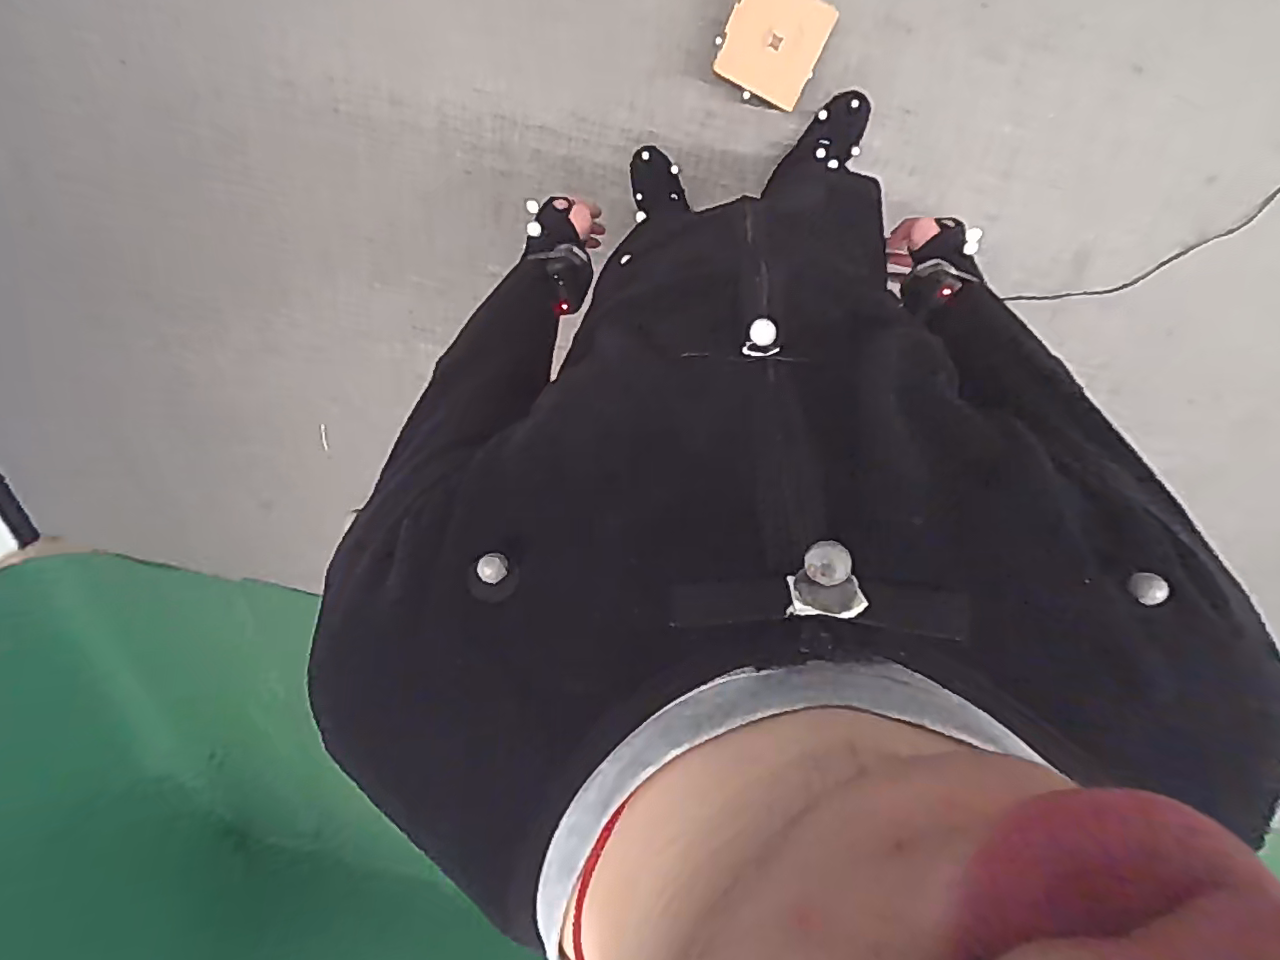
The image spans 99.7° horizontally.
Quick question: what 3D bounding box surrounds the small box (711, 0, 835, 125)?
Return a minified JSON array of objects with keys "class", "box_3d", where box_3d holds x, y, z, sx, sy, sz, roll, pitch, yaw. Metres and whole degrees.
[{"class":"small box","box_3d":[0.257,-0.842,1.085,0.179,0.176,0.168,22,126,-8]}]
